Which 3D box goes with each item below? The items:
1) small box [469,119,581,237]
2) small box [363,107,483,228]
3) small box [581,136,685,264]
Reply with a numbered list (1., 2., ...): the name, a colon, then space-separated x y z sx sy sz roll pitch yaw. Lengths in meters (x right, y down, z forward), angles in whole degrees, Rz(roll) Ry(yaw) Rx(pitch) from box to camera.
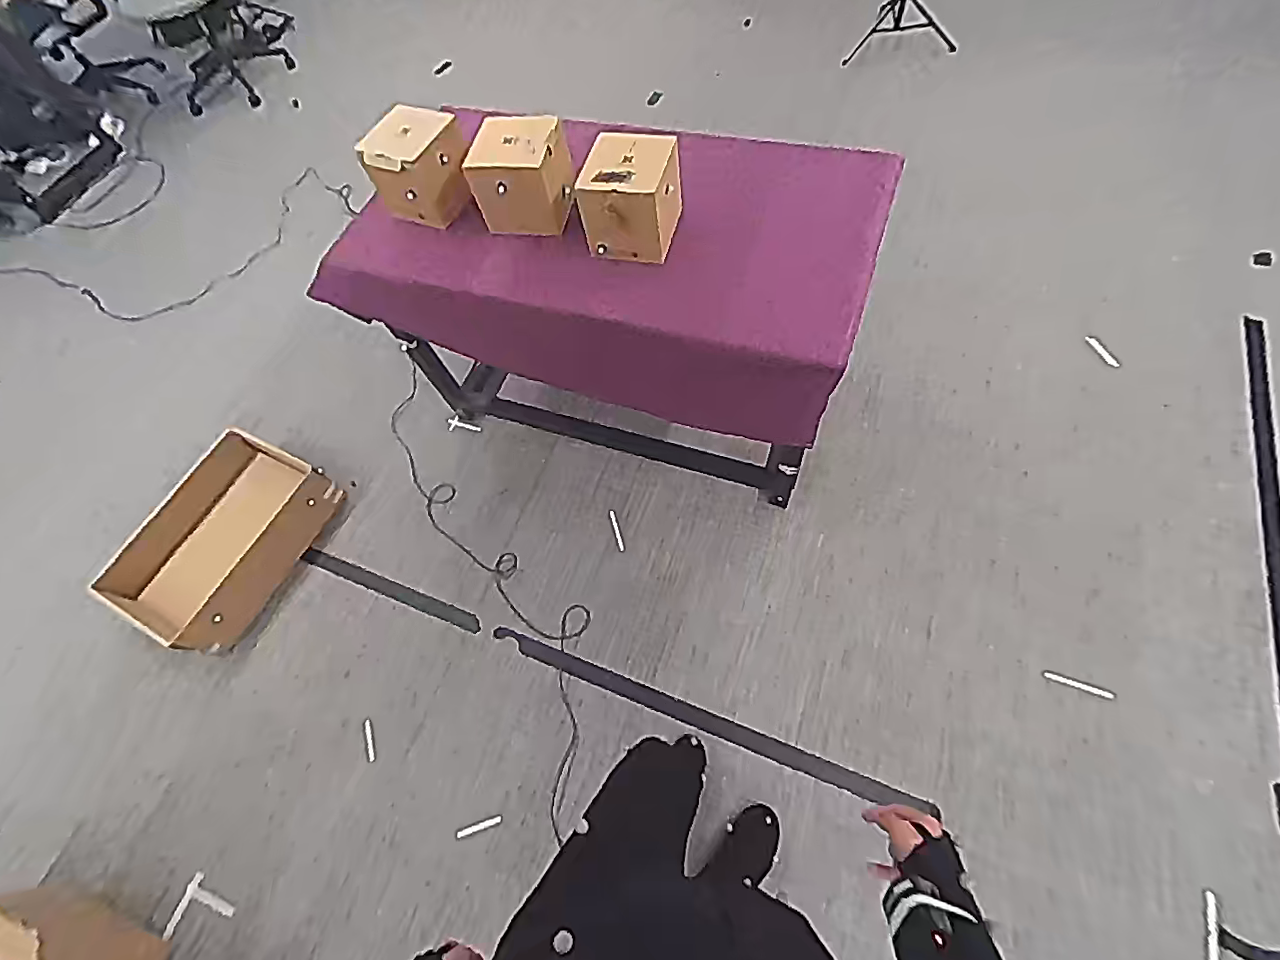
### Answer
1. small box: -0.245 -0.666 1.201 0.179 0.176 0.168 8 66 11
2. small box: -0.491 -0.725 1.264 0.168 0.176 0.179 21 68 16
3. small box: -0.005 -0.579 1.127 0.168 0.176 0.179 12 65 13
